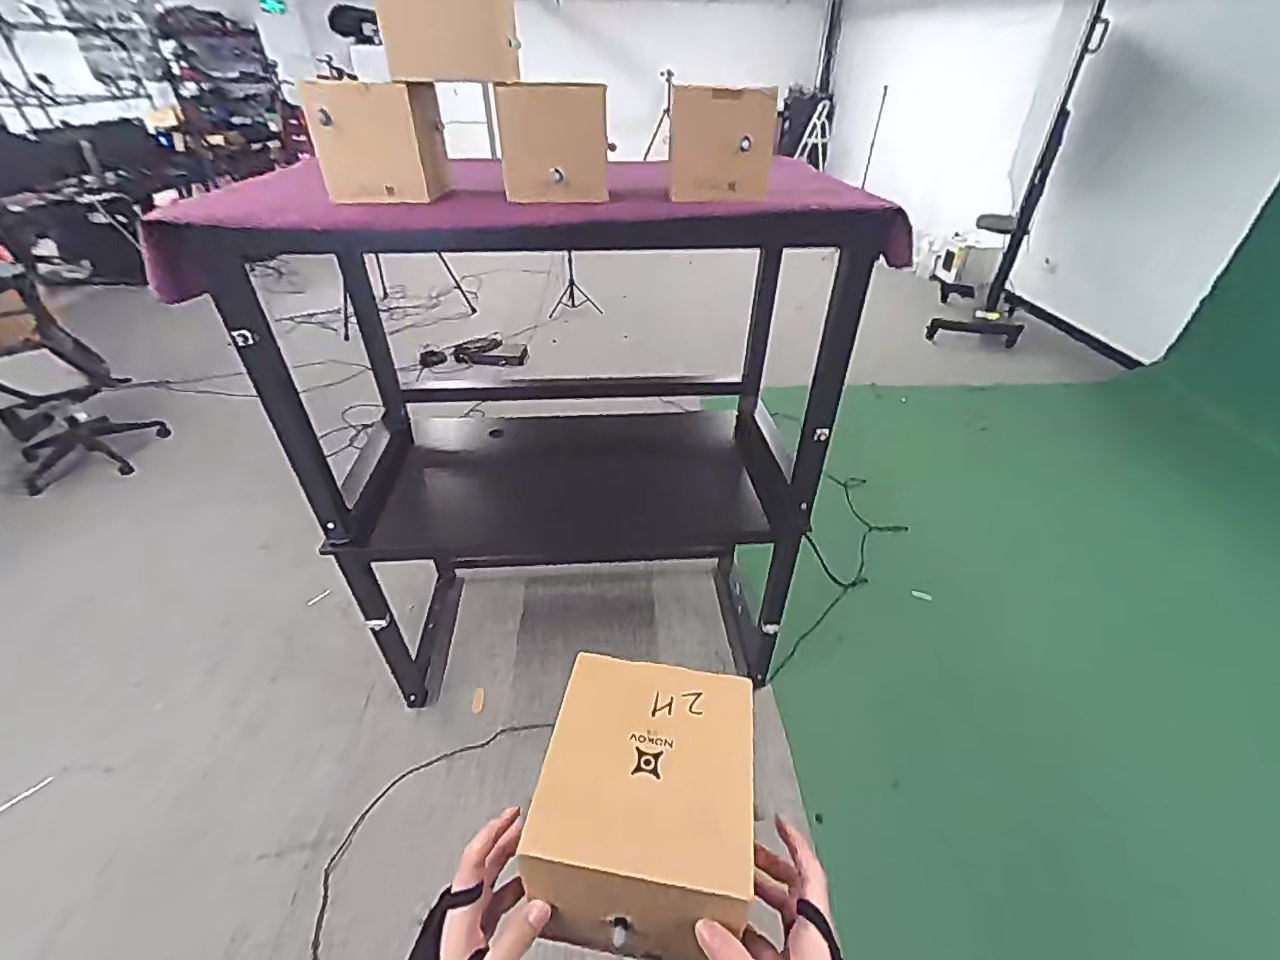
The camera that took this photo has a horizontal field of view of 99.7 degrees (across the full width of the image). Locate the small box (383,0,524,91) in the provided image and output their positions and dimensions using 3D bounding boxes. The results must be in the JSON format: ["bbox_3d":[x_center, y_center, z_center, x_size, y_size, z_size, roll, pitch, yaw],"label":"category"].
[{"bbox_3d":[-0.285,-0.710,0.834,0.179,0.176,0.168,0,36,-2],"label":"small box"}]

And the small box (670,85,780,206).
[{"bbox_3d":[0.140,-0.589,0.954,0.168,0.176,0.179,1,37,0],"label":"small box"}]

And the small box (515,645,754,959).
[{"bbox_3d":[0.006,0.280,0.478,0.168,0.176,0.179,7,35,8],"label":"small box"}]
